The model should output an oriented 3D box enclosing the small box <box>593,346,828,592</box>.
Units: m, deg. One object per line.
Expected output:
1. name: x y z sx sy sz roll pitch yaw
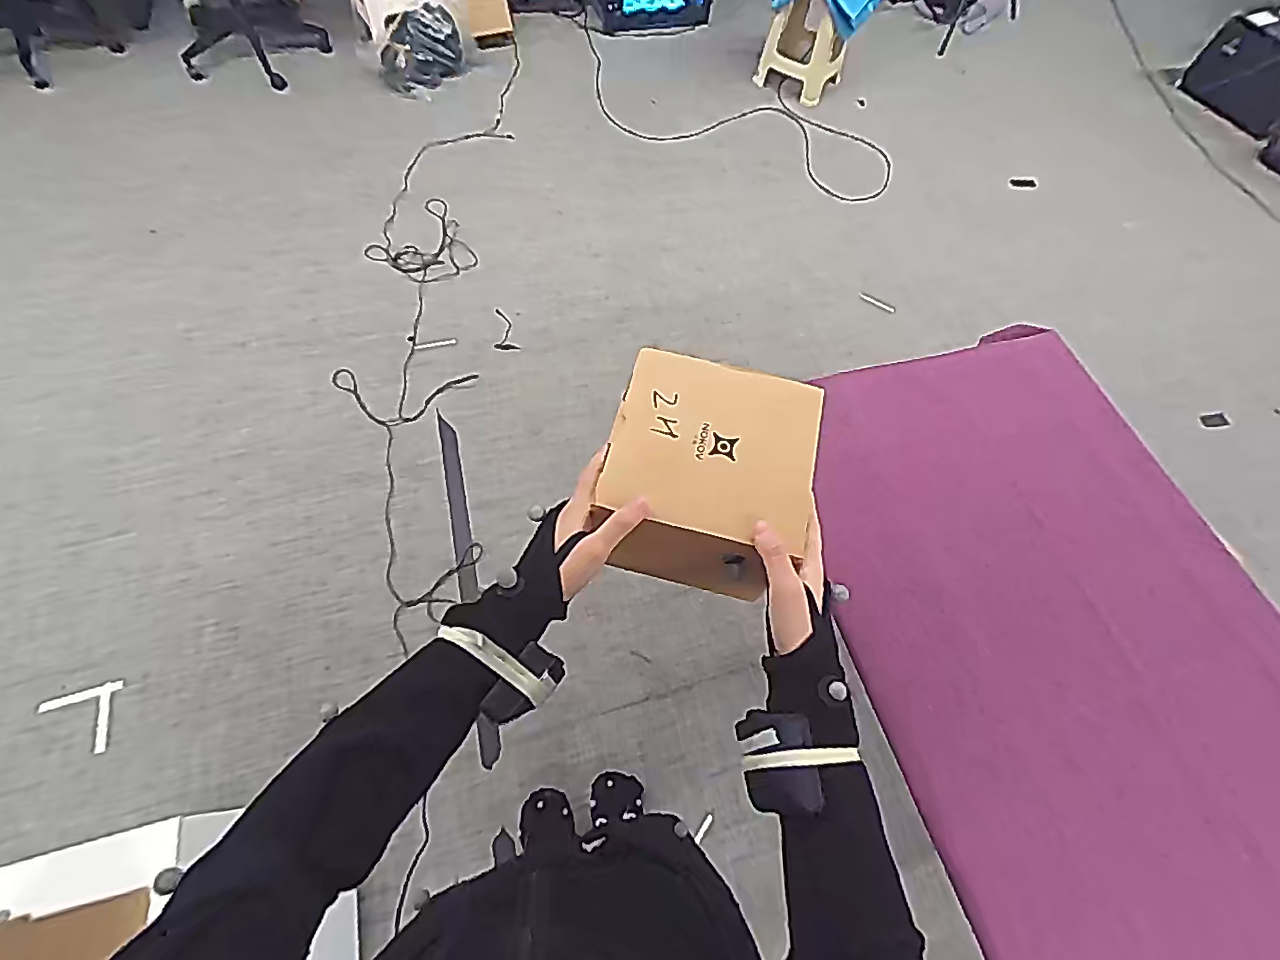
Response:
1. small box: 0.062 0.001 0.530 0.179 0.176 0.168 14 66 4
